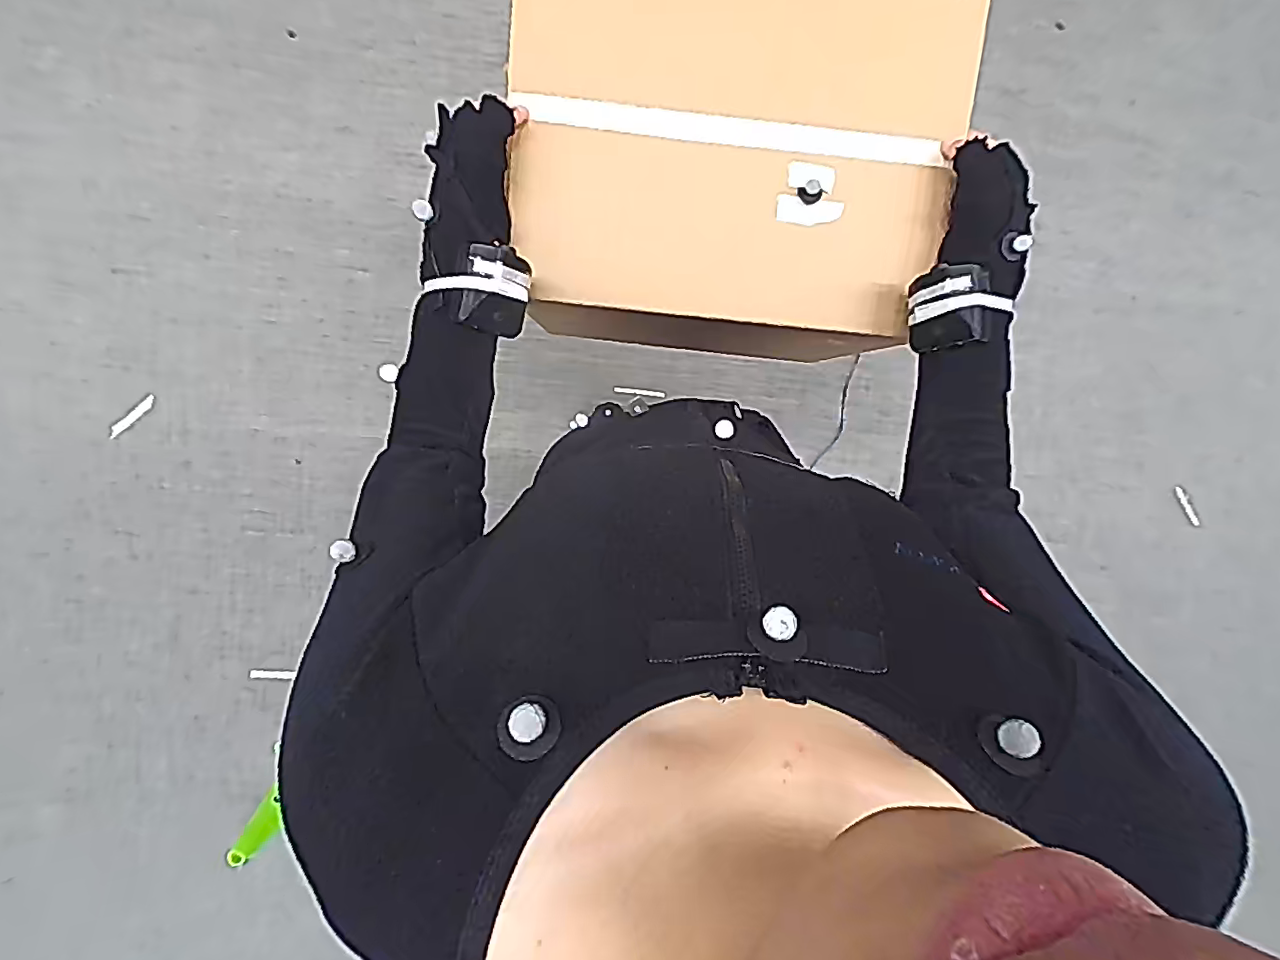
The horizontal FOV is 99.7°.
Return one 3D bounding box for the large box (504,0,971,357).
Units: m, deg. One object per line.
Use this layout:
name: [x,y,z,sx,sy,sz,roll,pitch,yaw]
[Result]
large box: [0.075,-0.326,0.627,0.408,0.320,0.320,5,98,-3]
